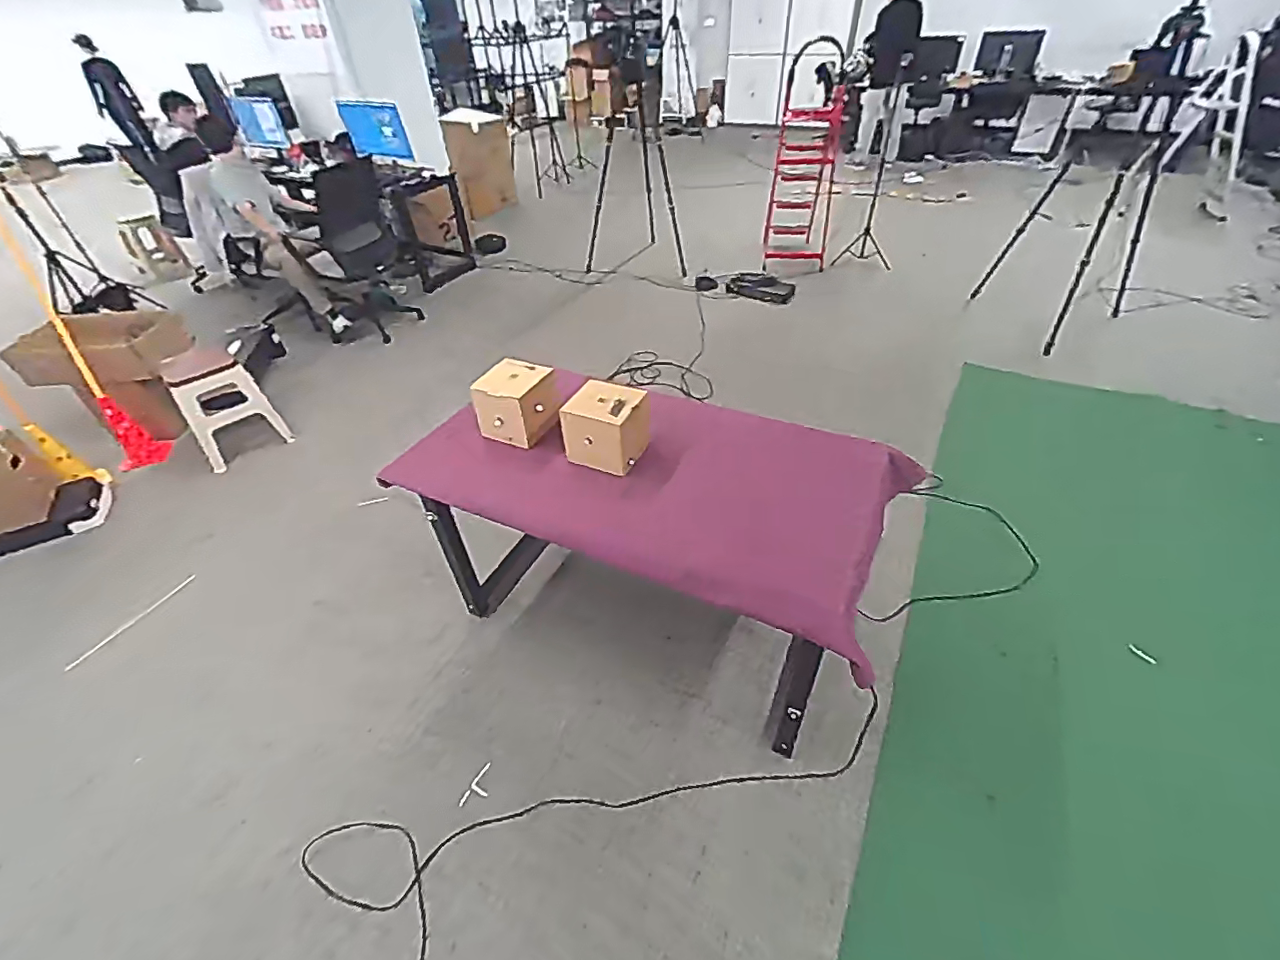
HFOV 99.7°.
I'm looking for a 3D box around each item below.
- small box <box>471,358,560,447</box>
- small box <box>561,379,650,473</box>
[{"bbox_3d":[-0.343,-0.219,1.538,0.168,0.176,0.179,17,46,20],"label":"small box"},{"bbox_3d":[-0.083,-0.140,1.432,0.179,0.176,0.168,15,45,21],"label":"small box"}]
